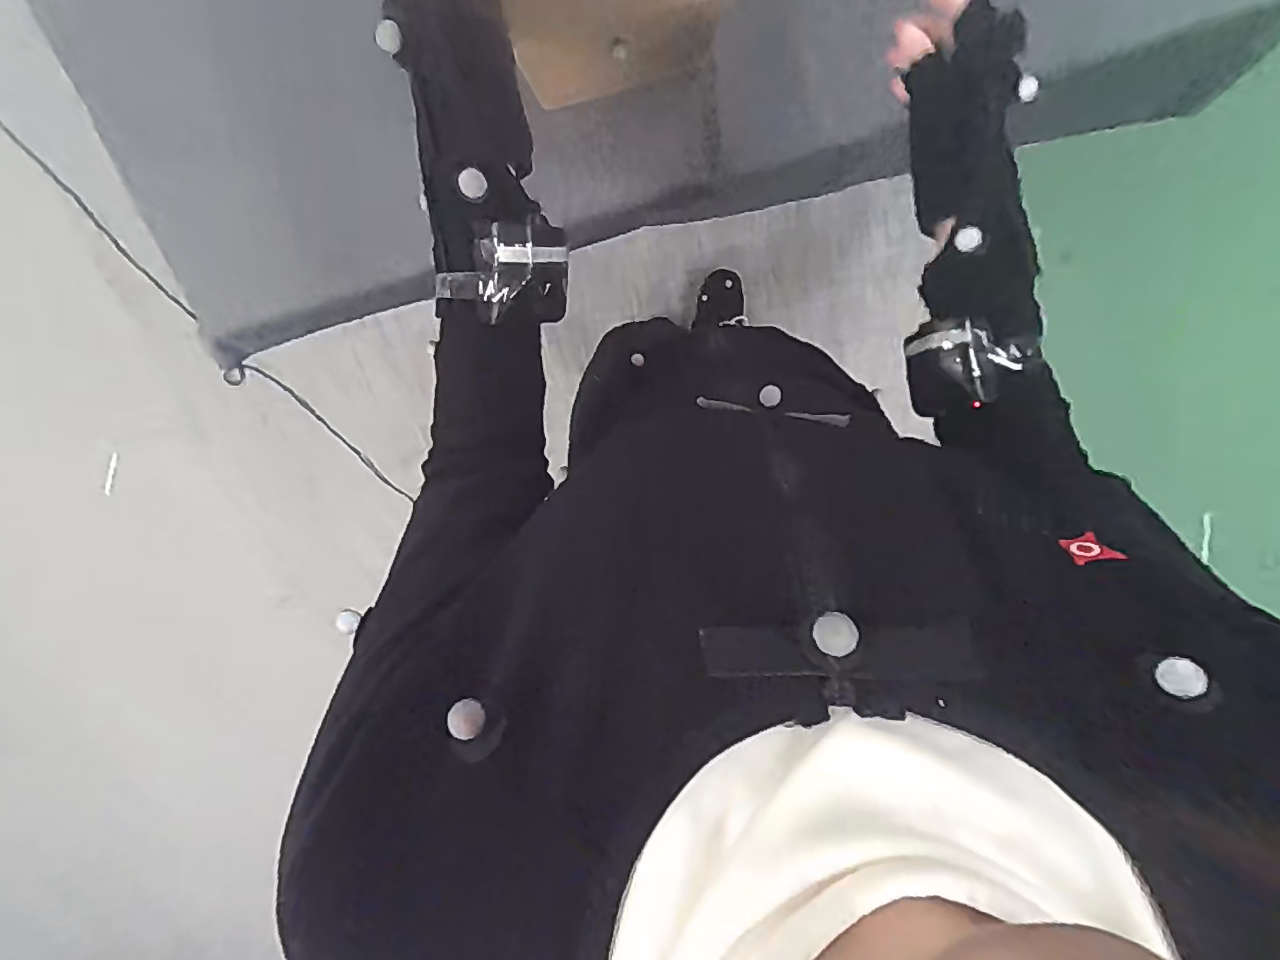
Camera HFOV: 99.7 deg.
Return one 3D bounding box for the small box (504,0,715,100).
[{"bbox_3d":[-0.034,-0.453,0.452,0.179,0.176,0.168,-13,110,6],"label":"small box"}]
